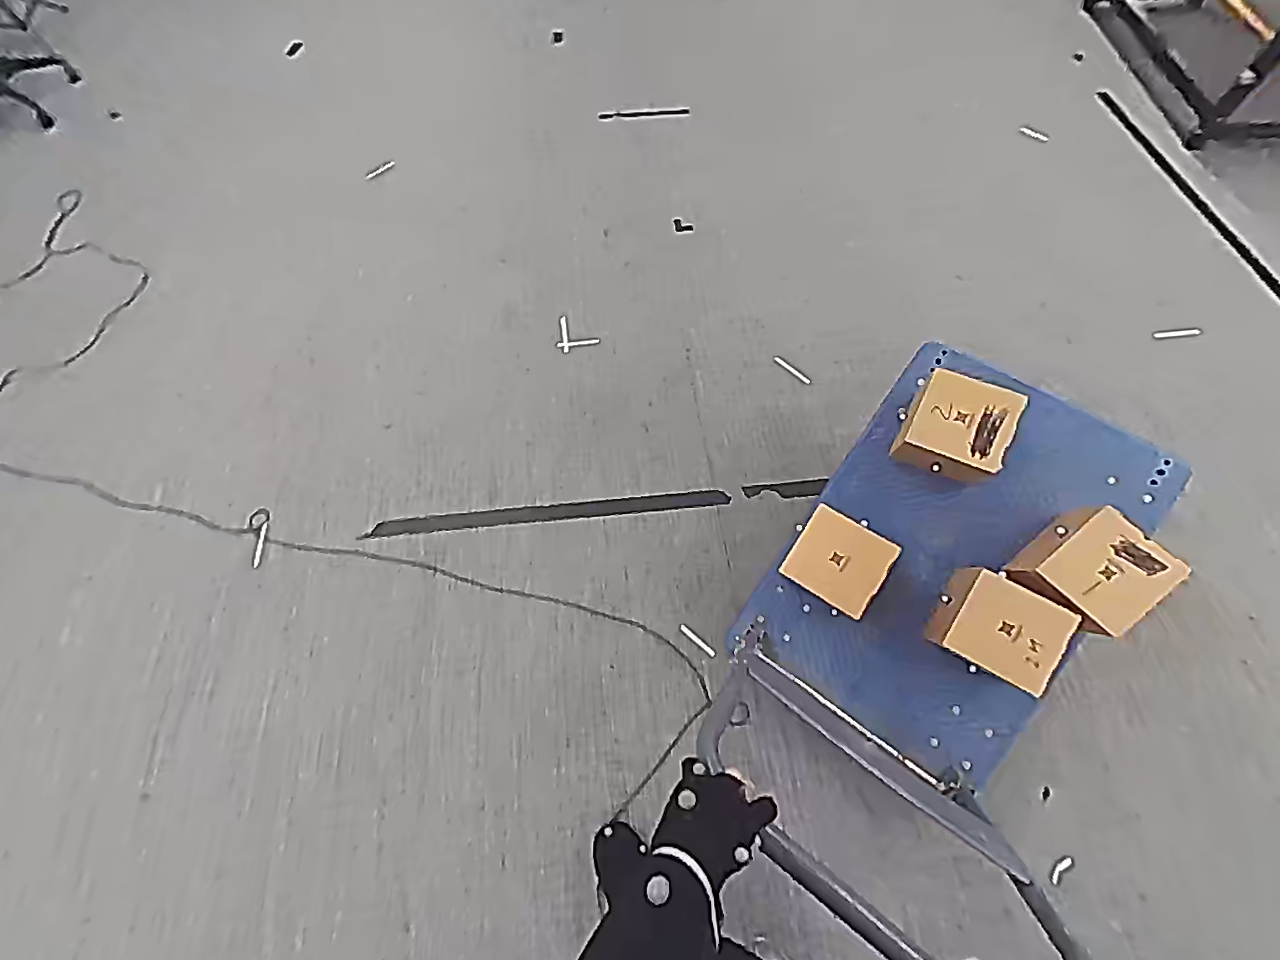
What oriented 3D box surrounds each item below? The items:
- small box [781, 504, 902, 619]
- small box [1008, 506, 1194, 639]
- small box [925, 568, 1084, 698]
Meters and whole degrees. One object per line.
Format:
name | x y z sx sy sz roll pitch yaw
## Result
small box | 0.412 0.172 1.140 0.179 0.176 0.168 32 89 16
small box | 0.852 0.172 1.025 0.179 0.176 0.168 -43 74 4
small box | 0.688 0.288 1.048 0.179 0.176 0.168 29 89 17
